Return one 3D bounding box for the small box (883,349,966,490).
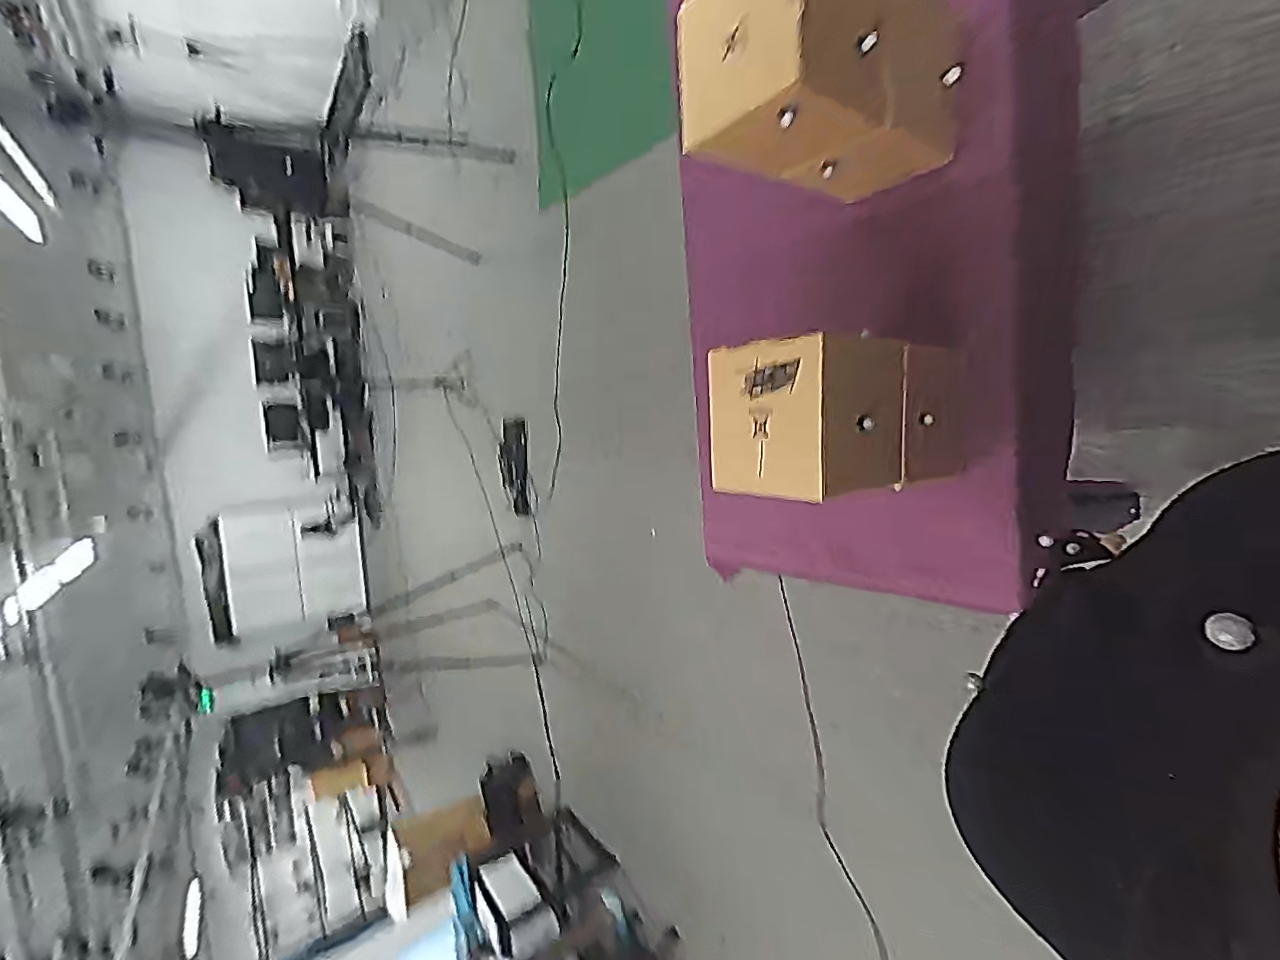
[{"bbox_3d":[0.341,-0.088,0.769,0.168,0.176,0.179,6,100,52],"label":"small box"}]

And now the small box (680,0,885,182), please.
[{"bbox_3d":[0.169,-0.487,0.651,0.179,0.176,0.168,5,101,52],"label":"small box"}]

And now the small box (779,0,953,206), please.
[{"bbox_3d":[0.305,-0.506,0.740,0.168,0.176,0.179,5,99,54],"label":"small box"}]

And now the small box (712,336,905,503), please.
[{"bbox_3d":[0.209,-0.076,0.673,0.168,0.176,0.179,5,102,52],"label":"small box"}]
